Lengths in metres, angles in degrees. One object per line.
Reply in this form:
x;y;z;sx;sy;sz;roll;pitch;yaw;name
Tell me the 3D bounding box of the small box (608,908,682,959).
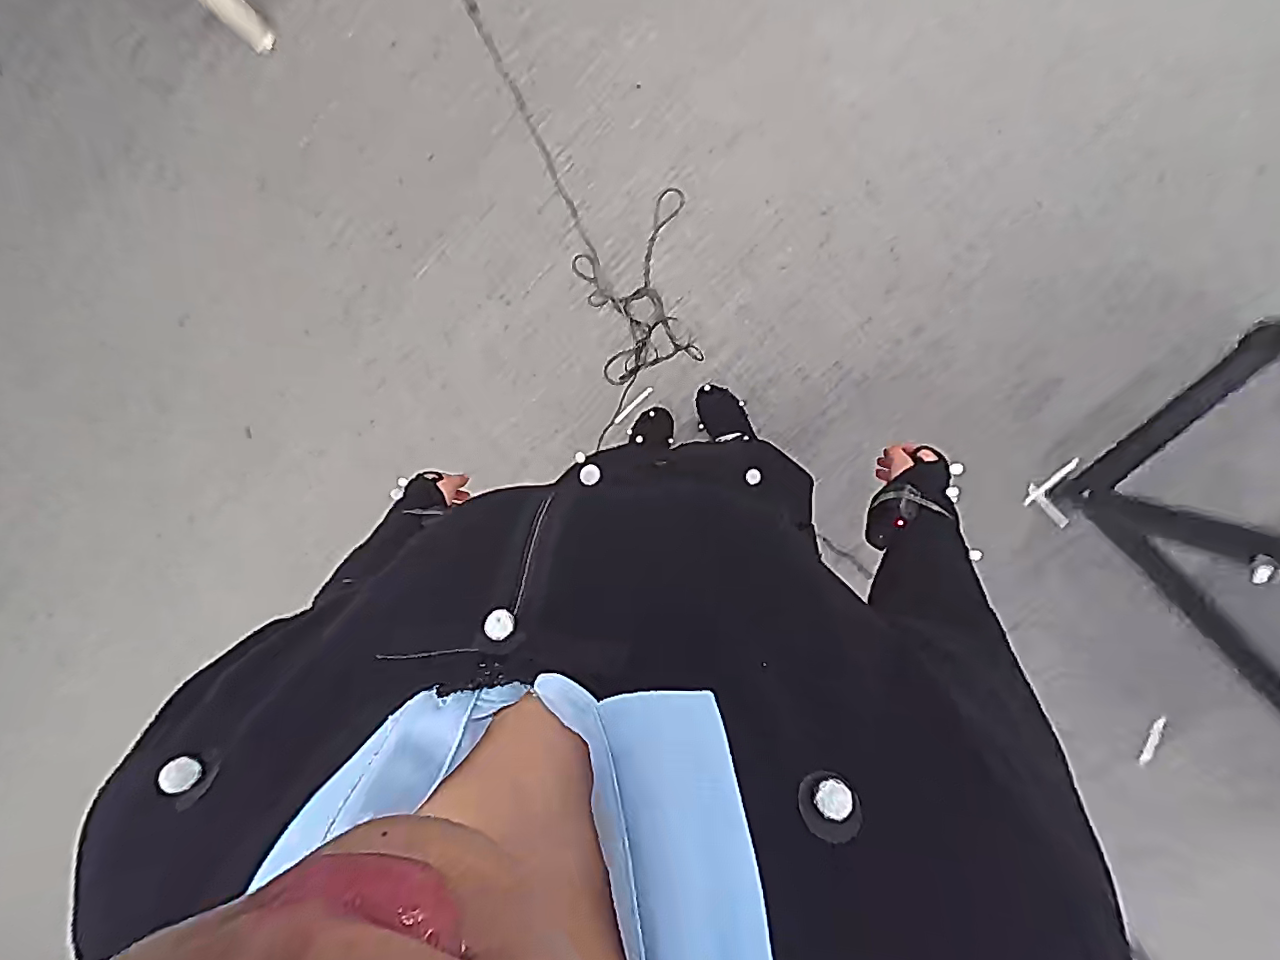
0.012;1.434;1.603;0.168;0.176;0.179;44;102;-1;small box
